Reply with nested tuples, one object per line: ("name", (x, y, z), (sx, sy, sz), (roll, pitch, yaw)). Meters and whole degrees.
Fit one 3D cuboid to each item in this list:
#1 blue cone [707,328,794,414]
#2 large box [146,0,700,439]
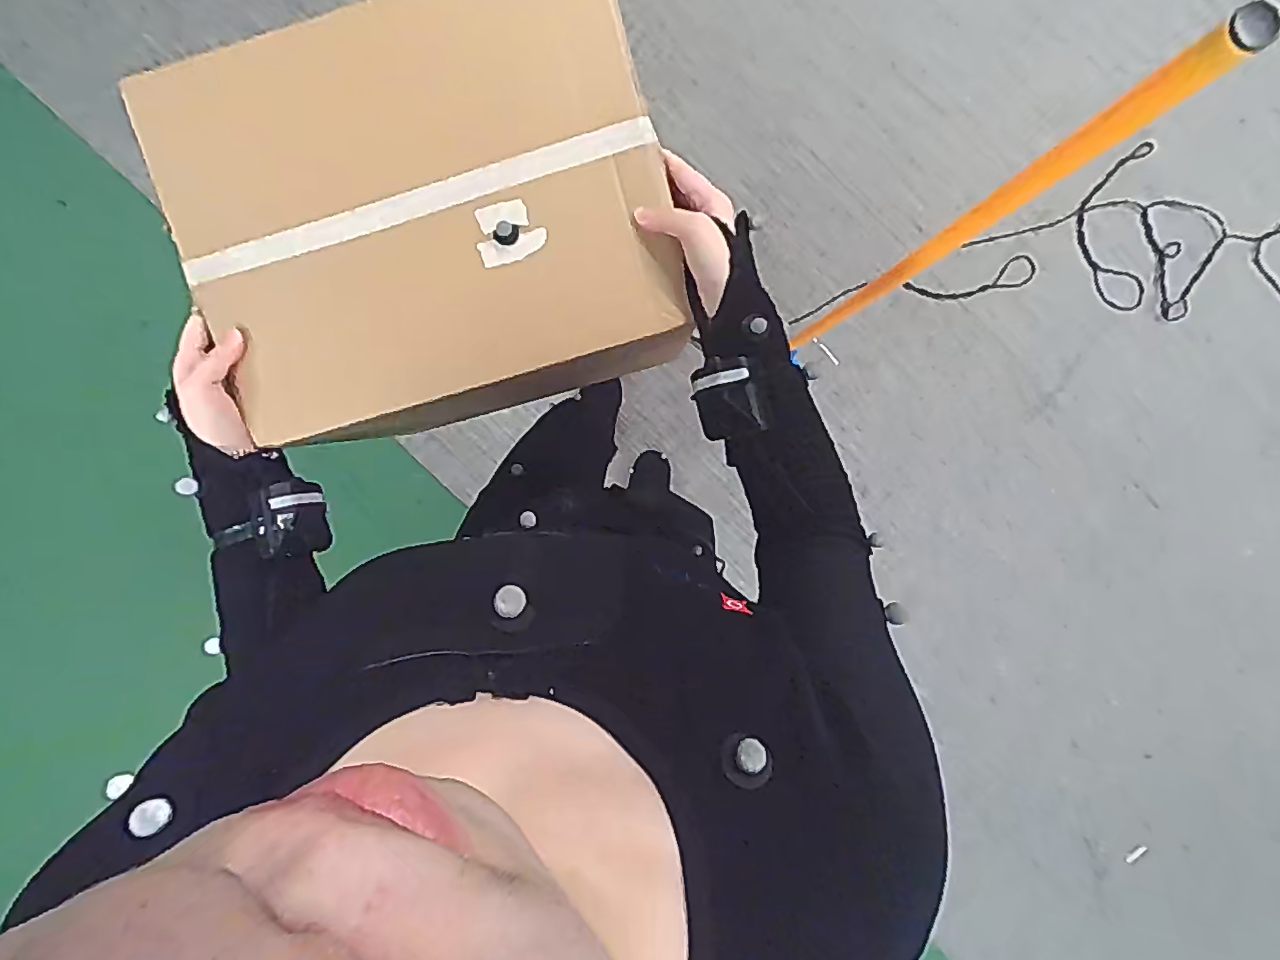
("blue cone", (0.301, -0.283, 1.310), (0.192, 0.380, 0.193), (-37, 93, 4))
("large box", (-0.182, -0.252, 0.605), (0.408, 0.320, 0.320), (-16, 97, 1))
